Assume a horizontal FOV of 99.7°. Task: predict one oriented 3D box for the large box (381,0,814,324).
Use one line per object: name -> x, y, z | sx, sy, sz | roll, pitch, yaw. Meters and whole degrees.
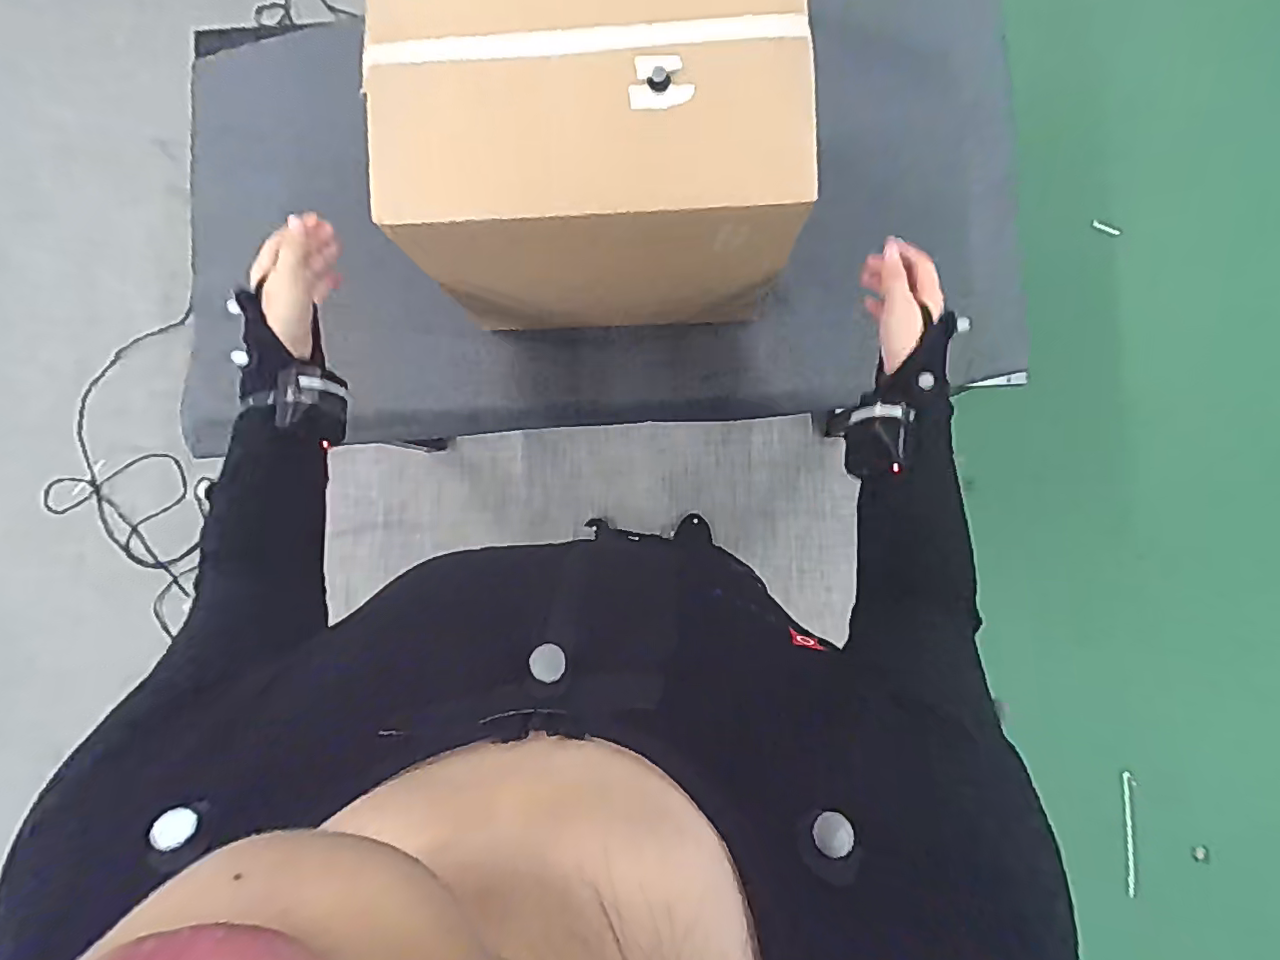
large box -> -0.043, -0.396, 0.652 | 0.408, 0.320, 0.320 | -2, 88, 2
